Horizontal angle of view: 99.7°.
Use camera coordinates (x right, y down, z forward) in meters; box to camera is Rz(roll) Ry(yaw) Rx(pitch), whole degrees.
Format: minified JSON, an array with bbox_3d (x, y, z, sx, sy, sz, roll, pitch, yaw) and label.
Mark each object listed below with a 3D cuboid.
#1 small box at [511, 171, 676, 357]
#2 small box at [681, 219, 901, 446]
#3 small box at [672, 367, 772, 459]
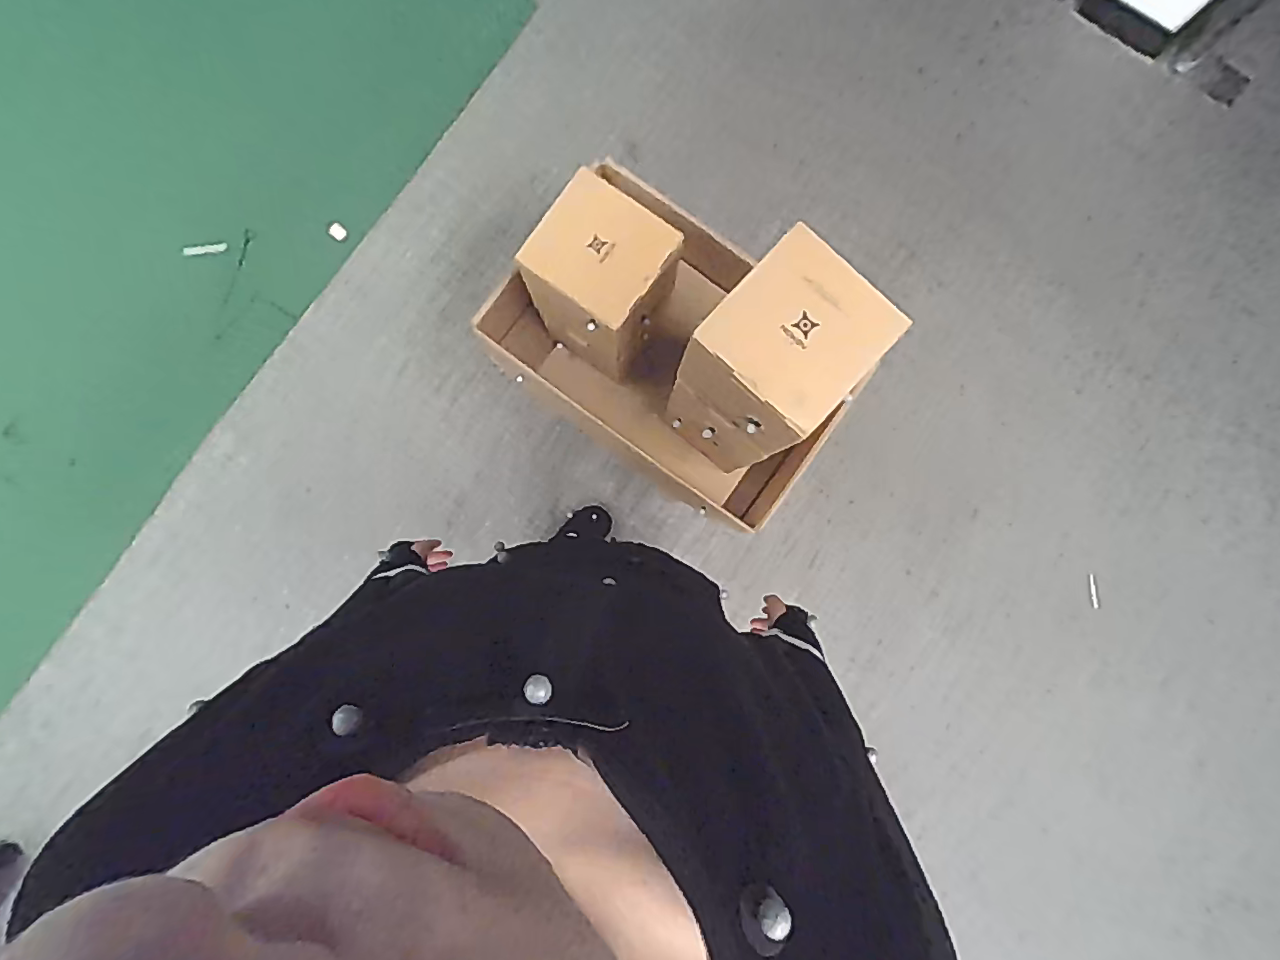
[{"bbox_3d":[-0.067,-0.314,0.827,0.179,0.176,0.168,33,86,1],"label":"small box"},{"bbox_3d":[0.163,-0.160,0.653,0.168,0.176,0.179,42,86,2],"label":"small box"},{"bbox_3d":[0.162,-0.147,0.817,0.168,0.176,0.179,40,88,2],"label":"small box"}]
